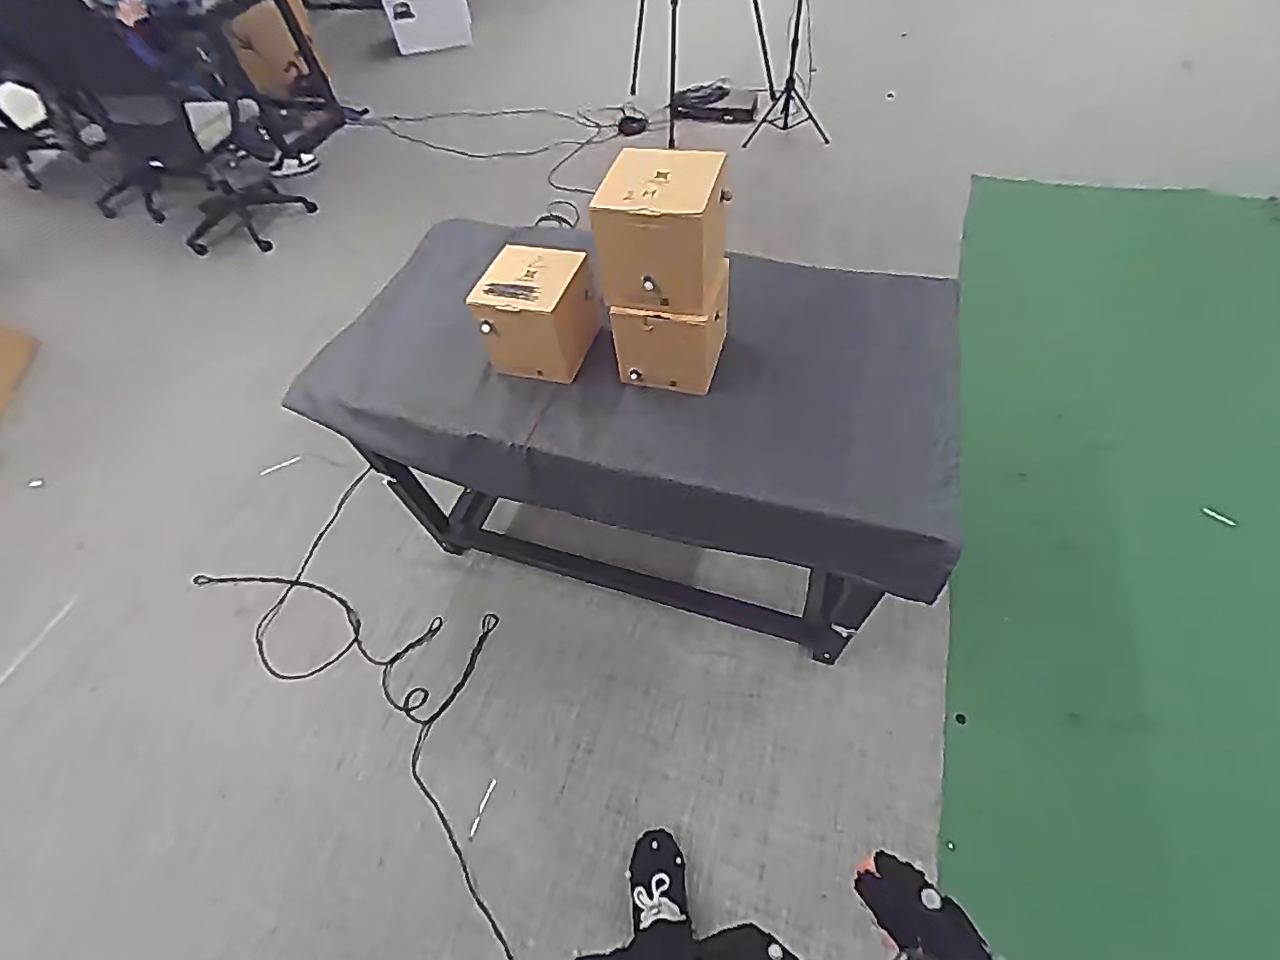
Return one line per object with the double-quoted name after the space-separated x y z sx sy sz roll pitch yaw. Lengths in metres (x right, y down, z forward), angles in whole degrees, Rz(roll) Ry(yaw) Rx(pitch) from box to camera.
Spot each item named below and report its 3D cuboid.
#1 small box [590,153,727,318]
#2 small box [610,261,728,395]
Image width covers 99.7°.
0.036 -0.382 0.849 0.168 0.176 0.179 10 58 14 "small box"
0.060 -0.276 0.973 0.168 0.176 0.179 12 57 14 "small box"
